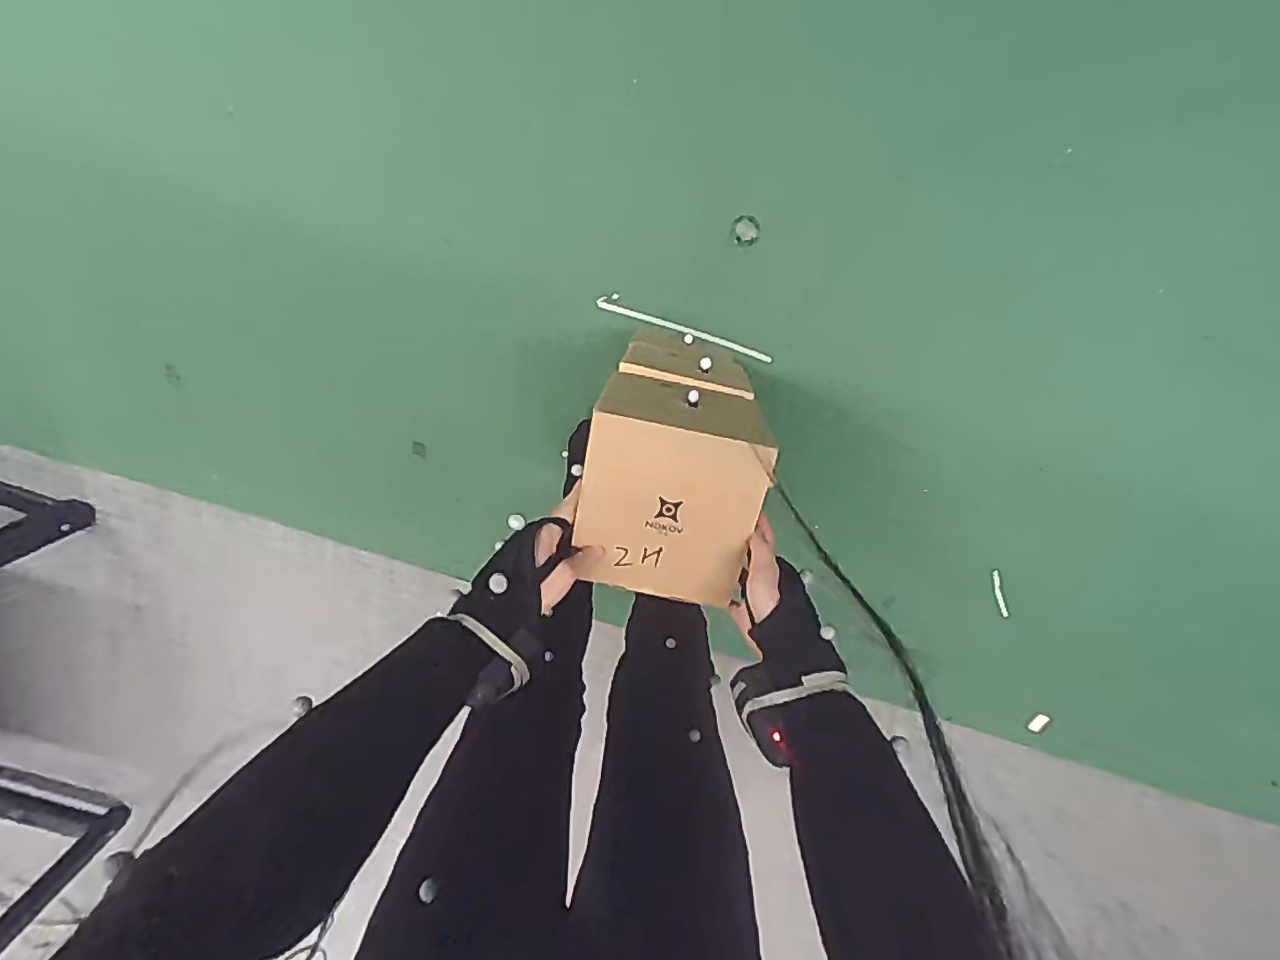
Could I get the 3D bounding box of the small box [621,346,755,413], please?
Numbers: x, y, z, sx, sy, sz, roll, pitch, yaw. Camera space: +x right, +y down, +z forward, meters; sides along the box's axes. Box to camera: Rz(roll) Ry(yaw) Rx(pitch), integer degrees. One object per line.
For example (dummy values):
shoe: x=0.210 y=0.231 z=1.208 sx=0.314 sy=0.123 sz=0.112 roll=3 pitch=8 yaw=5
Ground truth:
small box: x=0.045 y=-0.073 z=0.742 sx=0.168 sy=0.176 sz=0.179 roll=14 pitch=114 yaw=-1

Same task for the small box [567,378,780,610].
small box: x=0.030 y=0.003 z=0.570 sx=0.168 sy=0.176 sz=0.179 roll=13 pitch=113 yaw=-1
